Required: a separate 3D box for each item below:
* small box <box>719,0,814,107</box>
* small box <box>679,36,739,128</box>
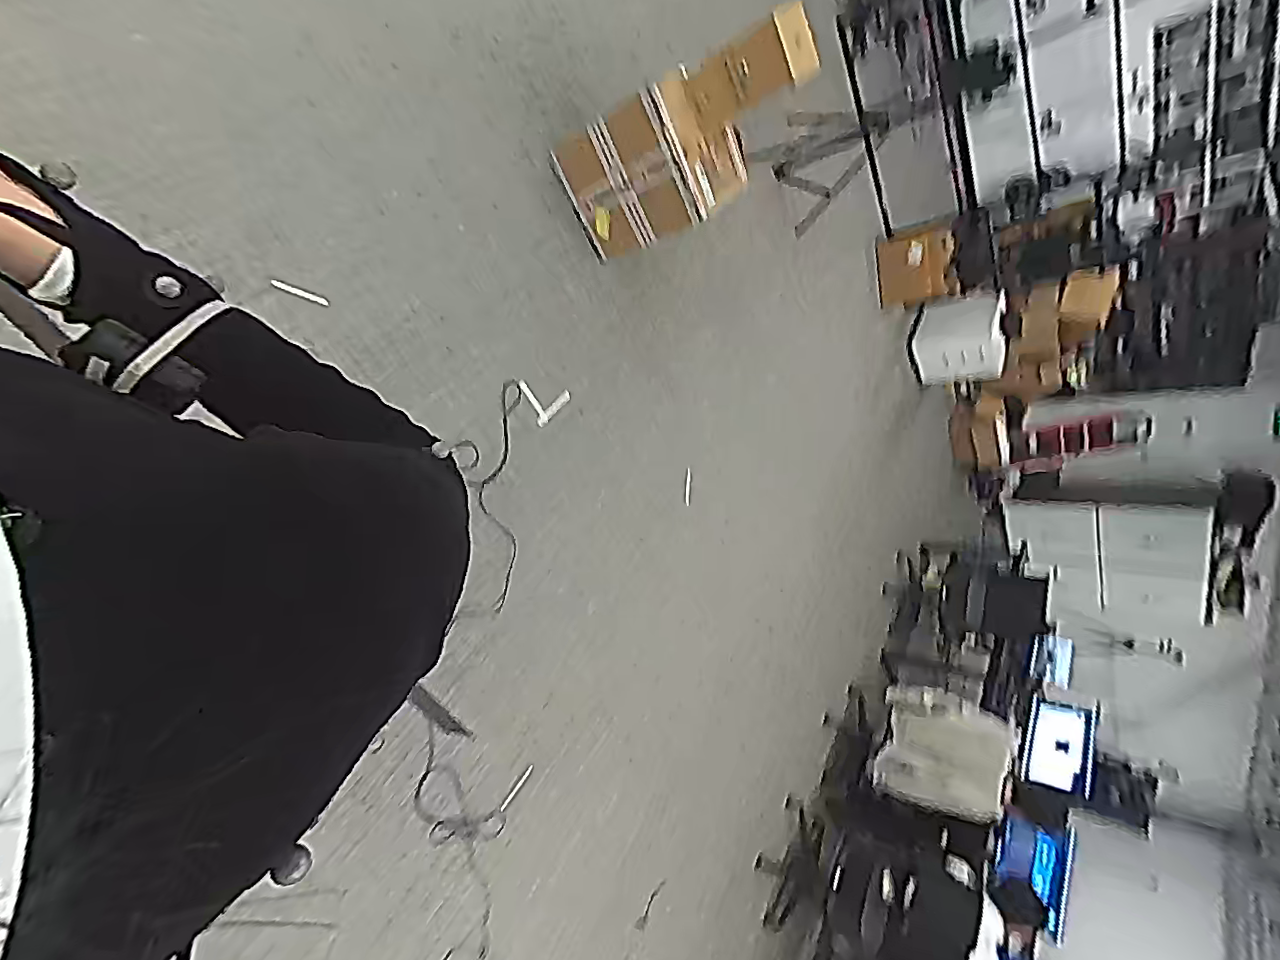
[{"bbox_3d":[0.349,-1.175,1.491,0.179,0.176,0.168,-49,122,-30],"label":"small box"},{"bbox_3d":[0.246,-1.197,1.617,0.179,0.176,0.168,-49,122,-30],"label":"small box"}]
